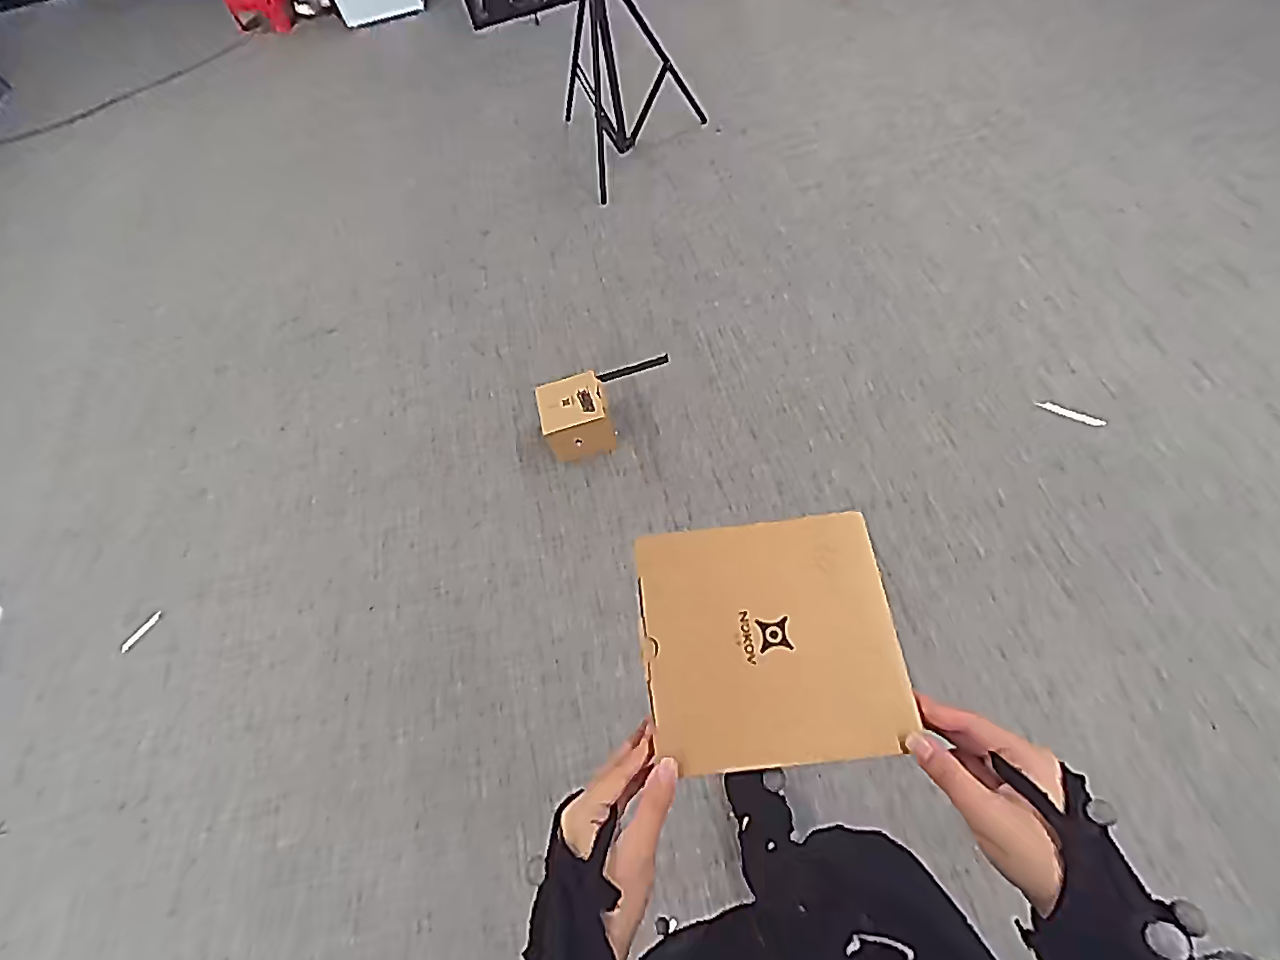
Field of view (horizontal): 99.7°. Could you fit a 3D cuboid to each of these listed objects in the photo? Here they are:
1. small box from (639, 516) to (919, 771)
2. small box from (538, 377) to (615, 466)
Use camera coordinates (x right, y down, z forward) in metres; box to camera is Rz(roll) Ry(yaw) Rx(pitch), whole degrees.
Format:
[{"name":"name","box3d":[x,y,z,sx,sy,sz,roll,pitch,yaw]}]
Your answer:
[{"name":"small box","box3d":[0.098,0.141,0.460,0.179,0.176,0.168,-7,66,4]},{"name":"small box","box3d":[-0.175,-0.163,1.547,0.179,0.176,0.168,-16,62,2]}]
